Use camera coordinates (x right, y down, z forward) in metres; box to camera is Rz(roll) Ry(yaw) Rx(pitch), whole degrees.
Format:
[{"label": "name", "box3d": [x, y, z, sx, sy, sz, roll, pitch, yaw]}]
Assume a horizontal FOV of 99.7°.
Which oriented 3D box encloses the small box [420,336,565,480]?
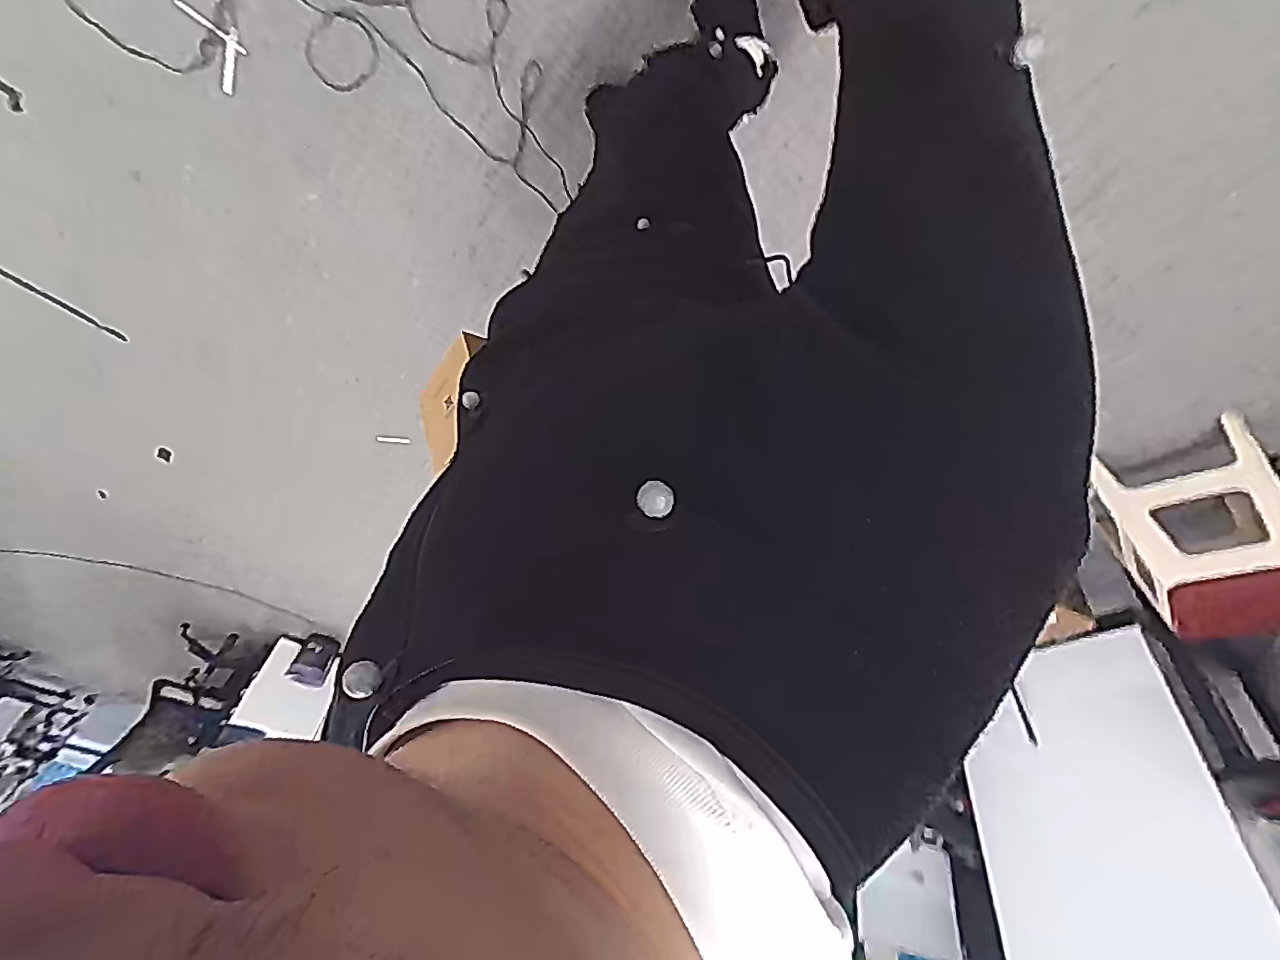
[{"label": "small box", "box3d": [-0.253, -0.112, 0.934, 0.176, 0.179, 0.168, 10, 139, -46]}]
